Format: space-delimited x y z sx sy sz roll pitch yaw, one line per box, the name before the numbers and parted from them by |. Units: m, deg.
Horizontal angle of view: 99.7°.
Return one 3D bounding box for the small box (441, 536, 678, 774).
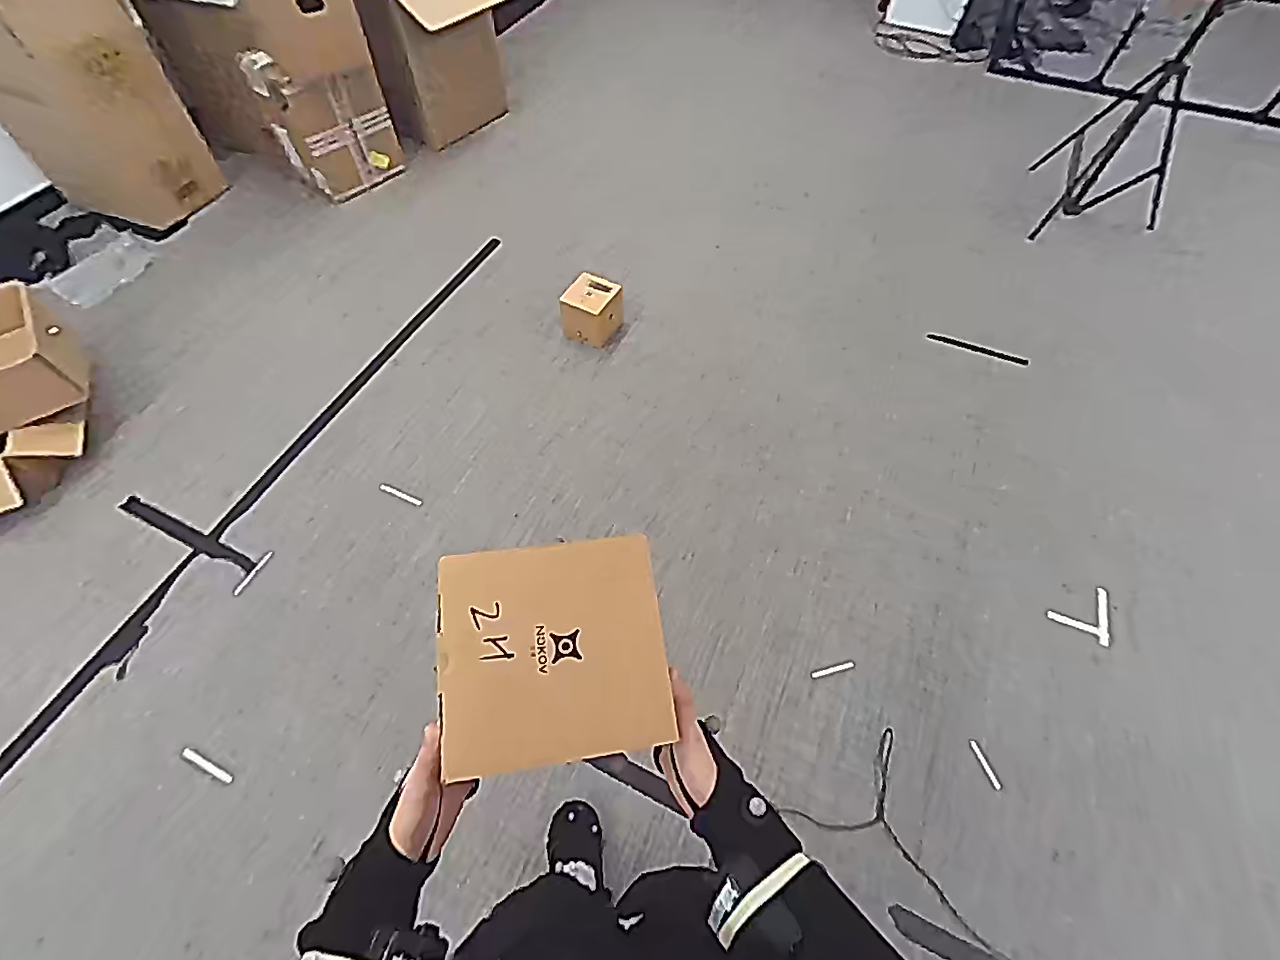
small box | -0.076 0.157 0.498 0.179 0.176 0.168 -5 69 -9
